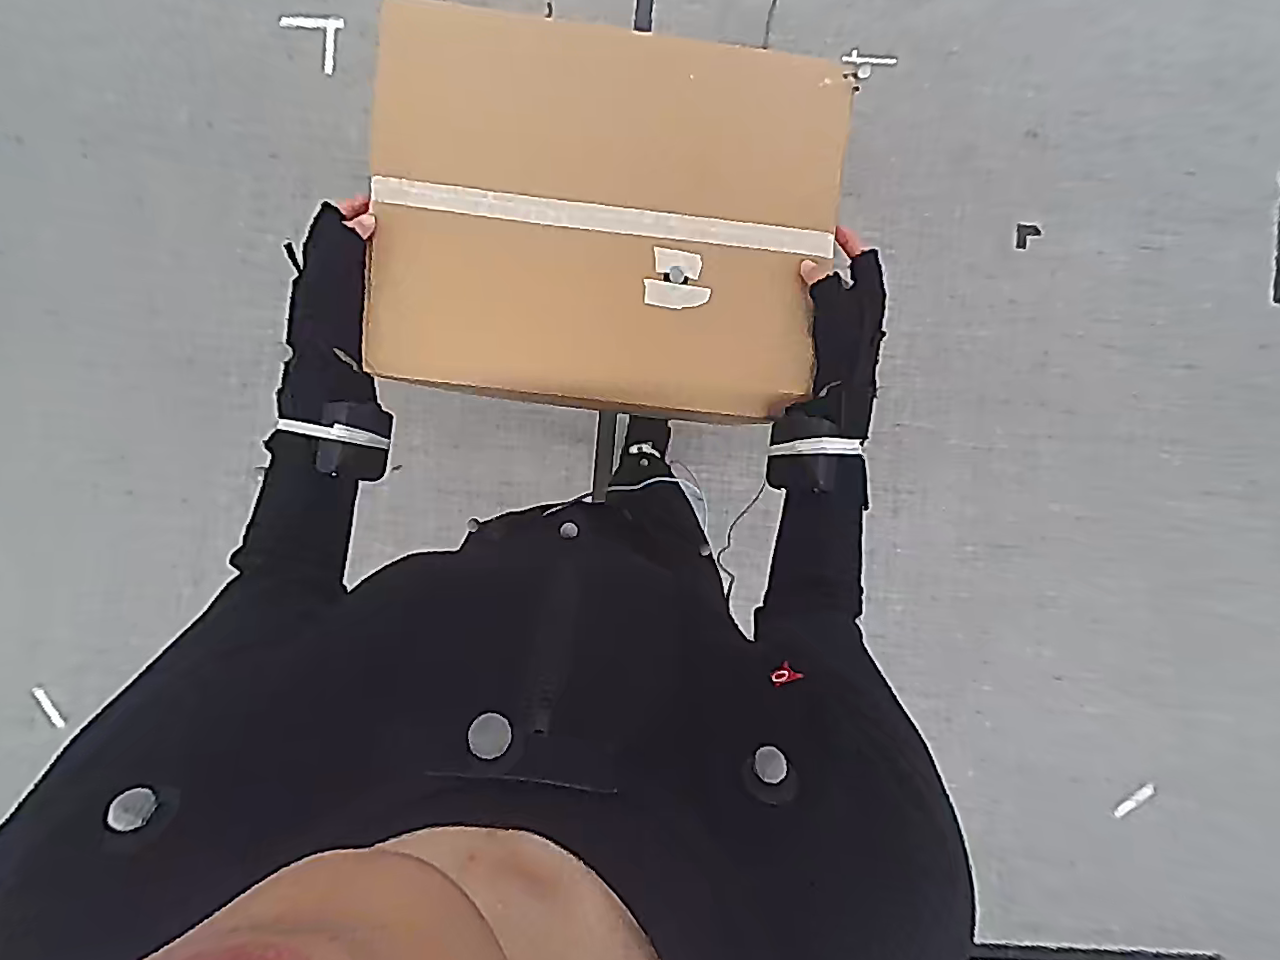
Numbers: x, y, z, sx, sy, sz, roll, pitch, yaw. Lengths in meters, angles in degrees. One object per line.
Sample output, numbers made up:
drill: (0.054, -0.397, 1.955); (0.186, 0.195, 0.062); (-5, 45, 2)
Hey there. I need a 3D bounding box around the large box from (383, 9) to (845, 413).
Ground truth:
large box: (-0.033, -0.255, 0.640); (0.408, 0.320, 0.320); (6, 96, -3)
